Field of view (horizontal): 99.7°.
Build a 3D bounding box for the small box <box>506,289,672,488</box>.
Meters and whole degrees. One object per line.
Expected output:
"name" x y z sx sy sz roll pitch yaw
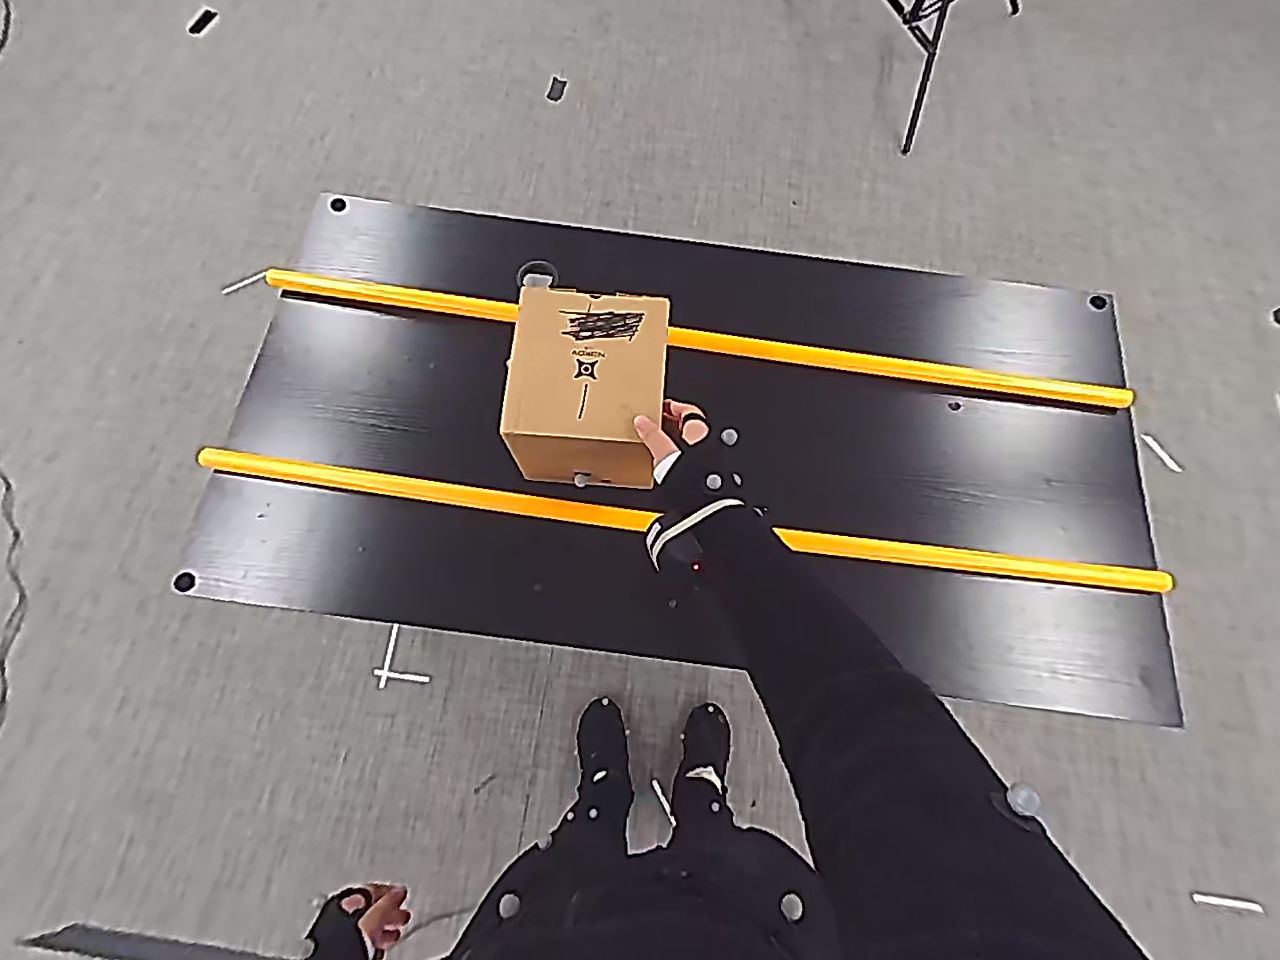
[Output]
"small box" -0.055 -0.102 0.656 0.168 0.176 0.179 4 73 0
